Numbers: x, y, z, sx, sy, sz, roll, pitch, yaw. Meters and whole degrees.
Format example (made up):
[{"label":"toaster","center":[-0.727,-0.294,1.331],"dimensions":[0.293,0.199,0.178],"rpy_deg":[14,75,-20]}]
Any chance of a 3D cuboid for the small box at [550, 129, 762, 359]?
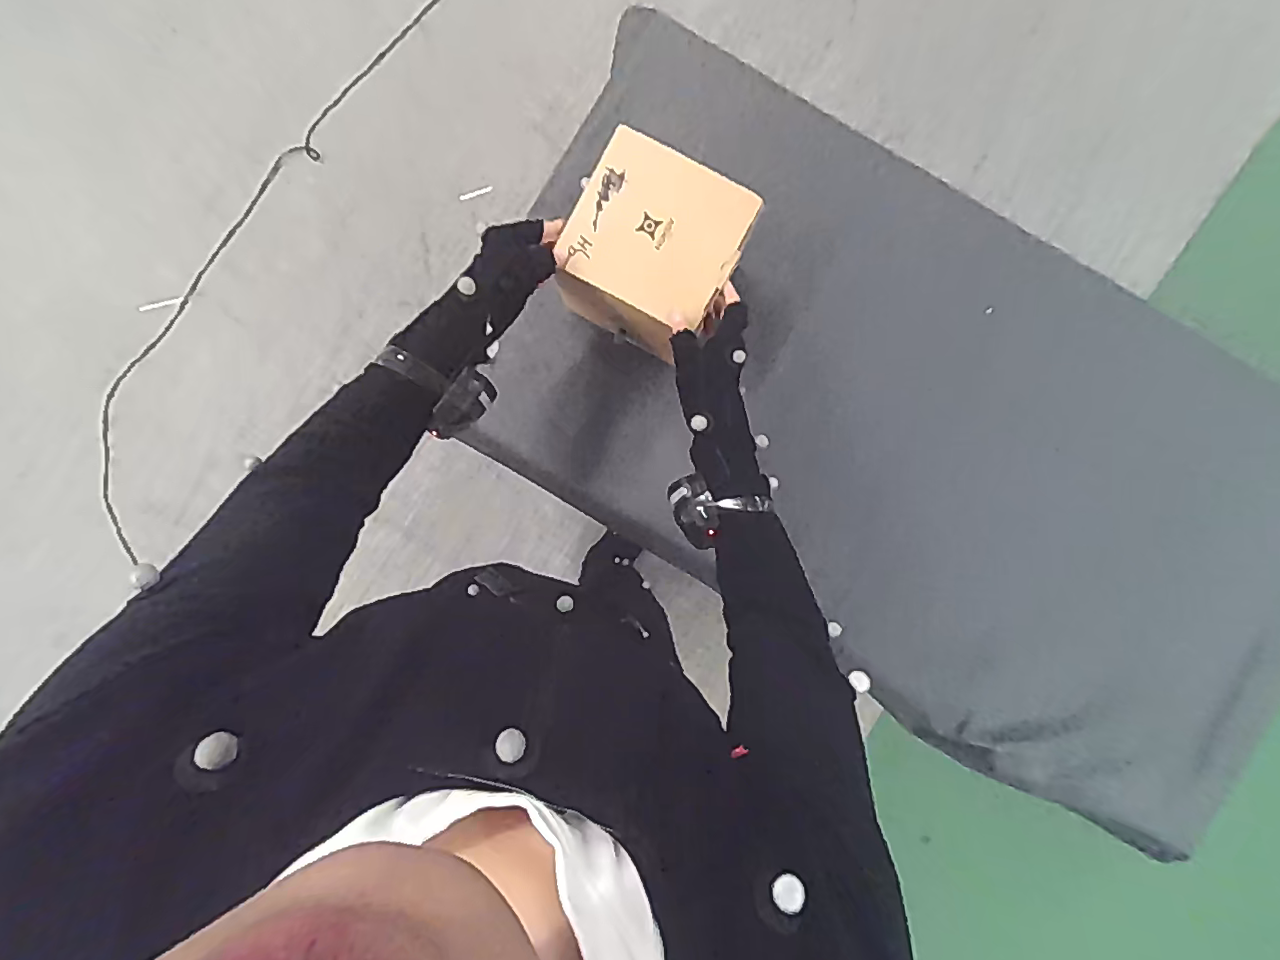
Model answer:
[{"label":"small box","center":[0.017,-0.262,0.653],"dimensions":[0.179,0.176,0.168],"rpy_deg":[29,90,-1]}]
